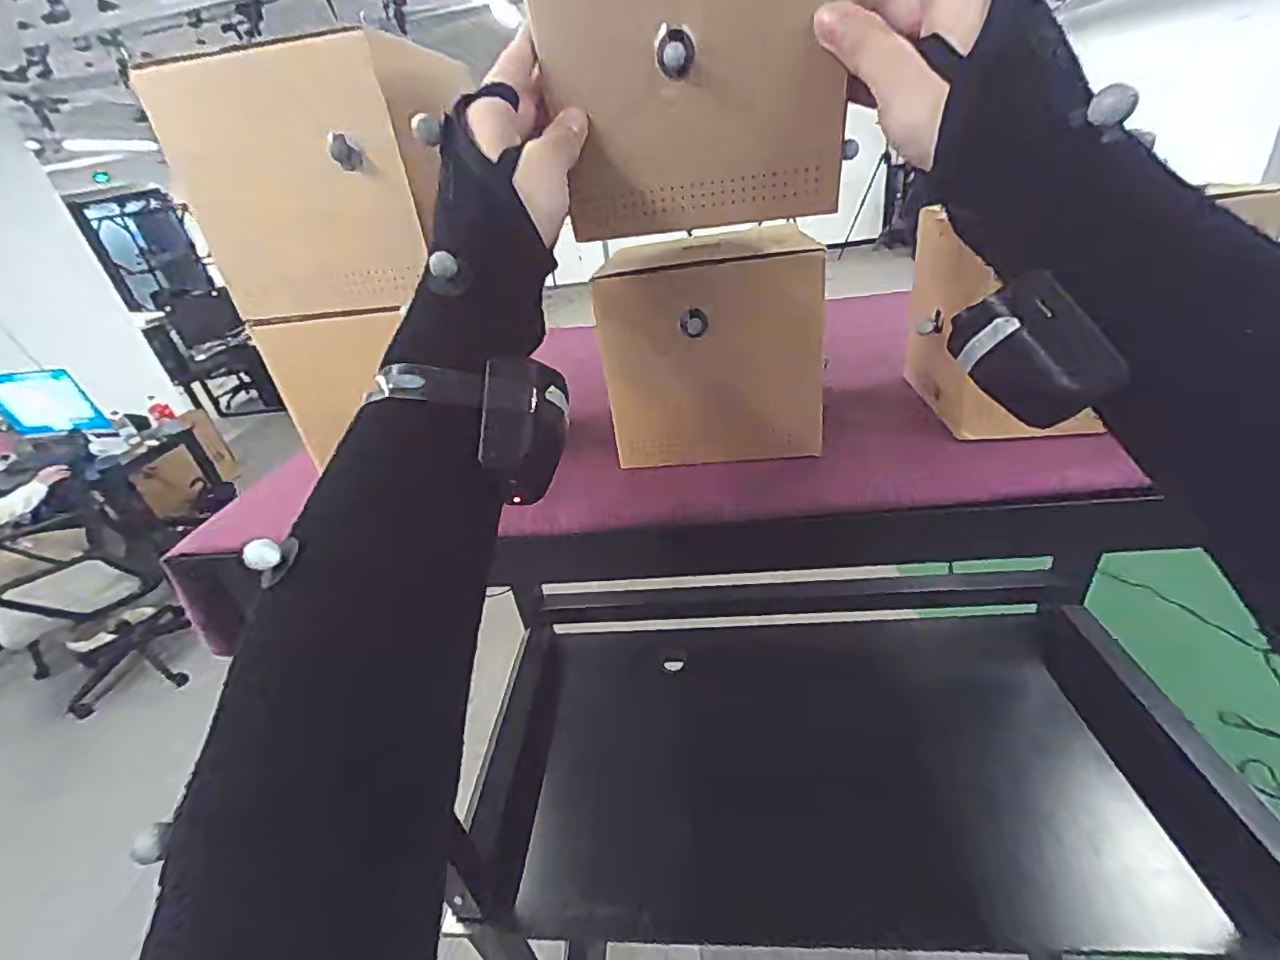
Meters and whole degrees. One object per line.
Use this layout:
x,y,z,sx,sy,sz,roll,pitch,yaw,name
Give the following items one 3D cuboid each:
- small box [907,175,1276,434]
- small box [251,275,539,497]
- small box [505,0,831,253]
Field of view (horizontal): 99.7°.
0.340,-0.147,0.459,0.179,0.176,0.168,-5,30,11,small box
-0.218,-0.093,0.537,0.179,0.176,0.168,-3,30,9,small box
0.029,-0.275,0.370,0.179,0.176,0.168,-4,40,11,small box
